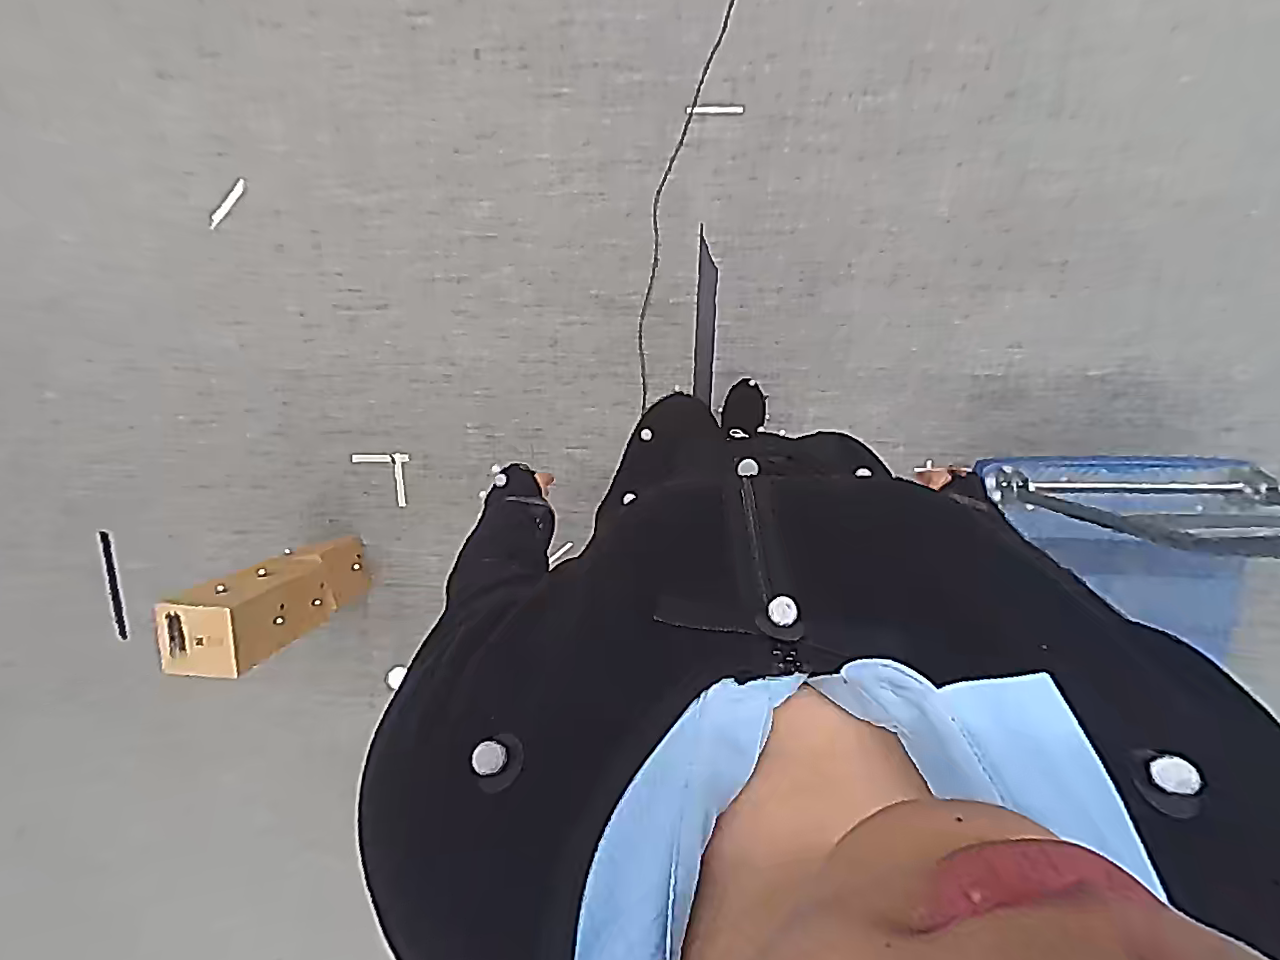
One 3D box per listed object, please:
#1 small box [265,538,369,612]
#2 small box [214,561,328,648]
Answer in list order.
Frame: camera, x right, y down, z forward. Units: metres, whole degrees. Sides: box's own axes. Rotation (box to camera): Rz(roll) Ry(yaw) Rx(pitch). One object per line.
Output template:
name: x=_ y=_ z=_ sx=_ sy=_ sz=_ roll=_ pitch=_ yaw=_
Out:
small box: x=-0.921 y=0.278 z=1.551 sx=0.179 sy=0.176 sz=0.168 roll=-10 pitch=100 yaw=7
small box: x=-0.942 y=0.314 z=1.394 sx=0.179 sy=0.176 sz=0.168 roll=2 pitch=101 yaw=4
